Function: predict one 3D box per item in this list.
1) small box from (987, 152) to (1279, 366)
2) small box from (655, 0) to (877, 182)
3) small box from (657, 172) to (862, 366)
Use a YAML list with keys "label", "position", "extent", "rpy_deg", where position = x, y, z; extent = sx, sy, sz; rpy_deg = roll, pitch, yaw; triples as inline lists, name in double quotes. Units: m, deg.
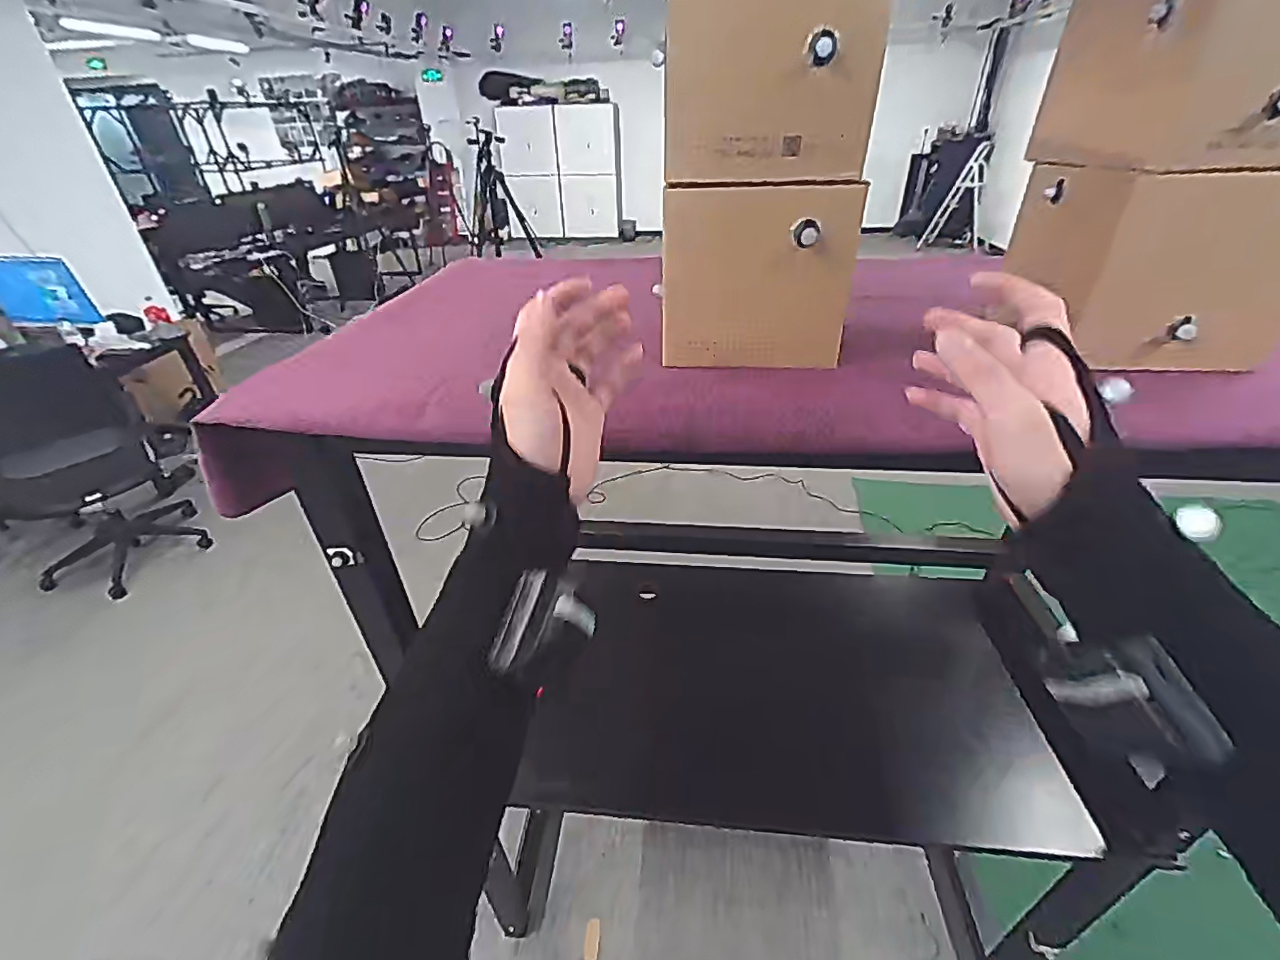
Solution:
- label: "small box"
  position: [0.483, -0.216, 0.526]
  extent: [0.179, 0.176, 0.168]
  rpy_deg: [1, 32, 6]
- label: "small box"
  position: [0.104, -0.364, 0.482]
  extent: [0.168, 0.176, 0.179]
  rpy_deg: [3, 33, 7]
- label: "small box"
  position: [0.112, -0.226, 0.569]
  extent: [0.179, 0.176, 0.168]
  rpy_deg: [2, 33, 7]
